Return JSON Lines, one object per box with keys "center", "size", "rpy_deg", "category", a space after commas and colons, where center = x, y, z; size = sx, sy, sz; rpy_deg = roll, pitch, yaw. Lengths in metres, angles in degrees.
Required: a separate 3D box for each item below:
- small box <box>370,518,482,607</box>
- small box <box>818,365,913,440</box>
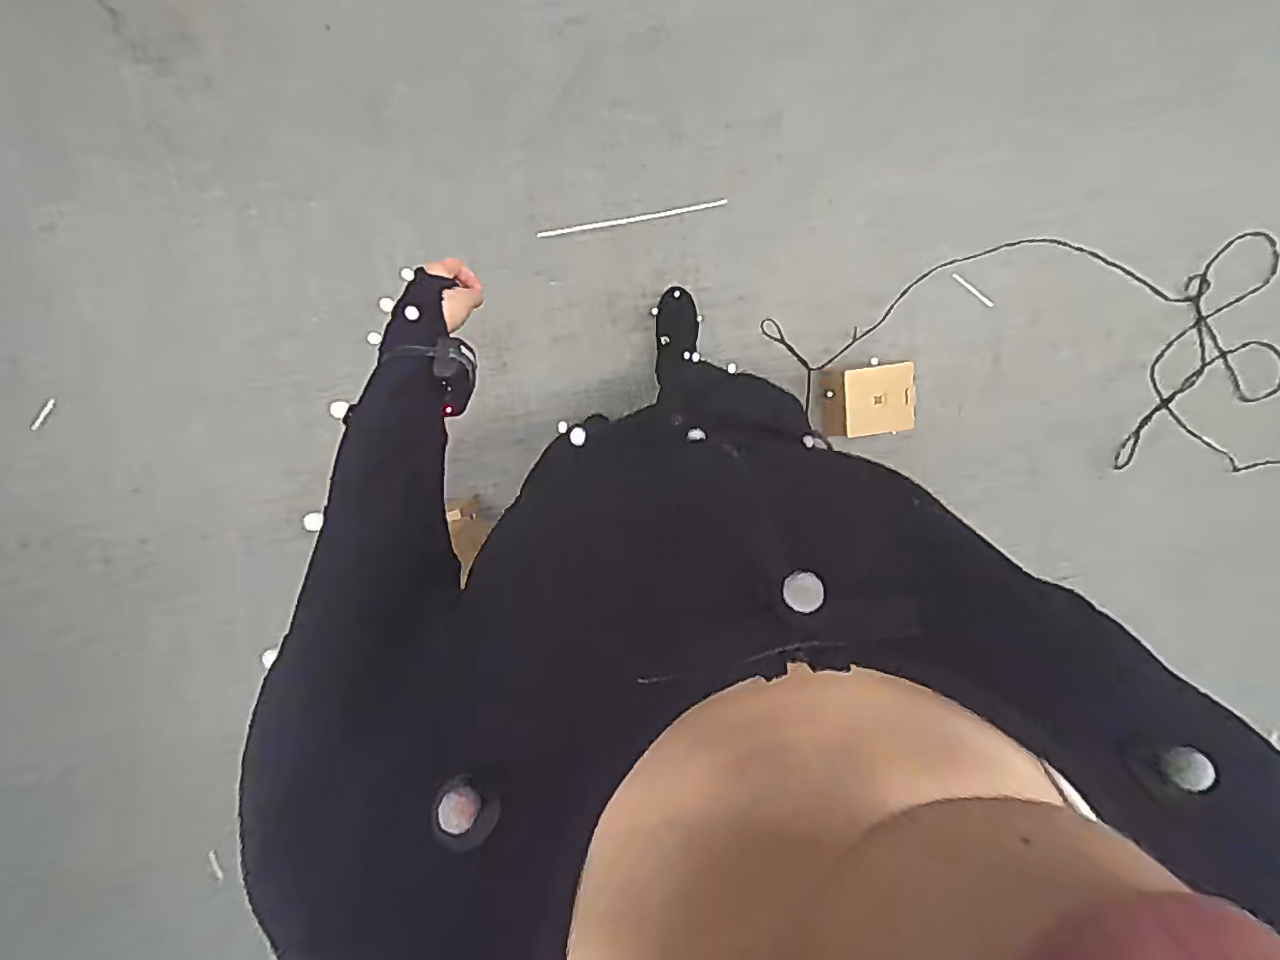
{"center": [-0.484, 0.200, 1.248], "size": [0.179, 0.176, 0.168], "rpy_deg": [-12, 103, -2], "category": "small box"}
{"center": [0.569, -0.201, 1.386], "size": [0.179, 0.176, 0.168], "rpy_deg": [-8, 102, -2], "category": "small box"}
